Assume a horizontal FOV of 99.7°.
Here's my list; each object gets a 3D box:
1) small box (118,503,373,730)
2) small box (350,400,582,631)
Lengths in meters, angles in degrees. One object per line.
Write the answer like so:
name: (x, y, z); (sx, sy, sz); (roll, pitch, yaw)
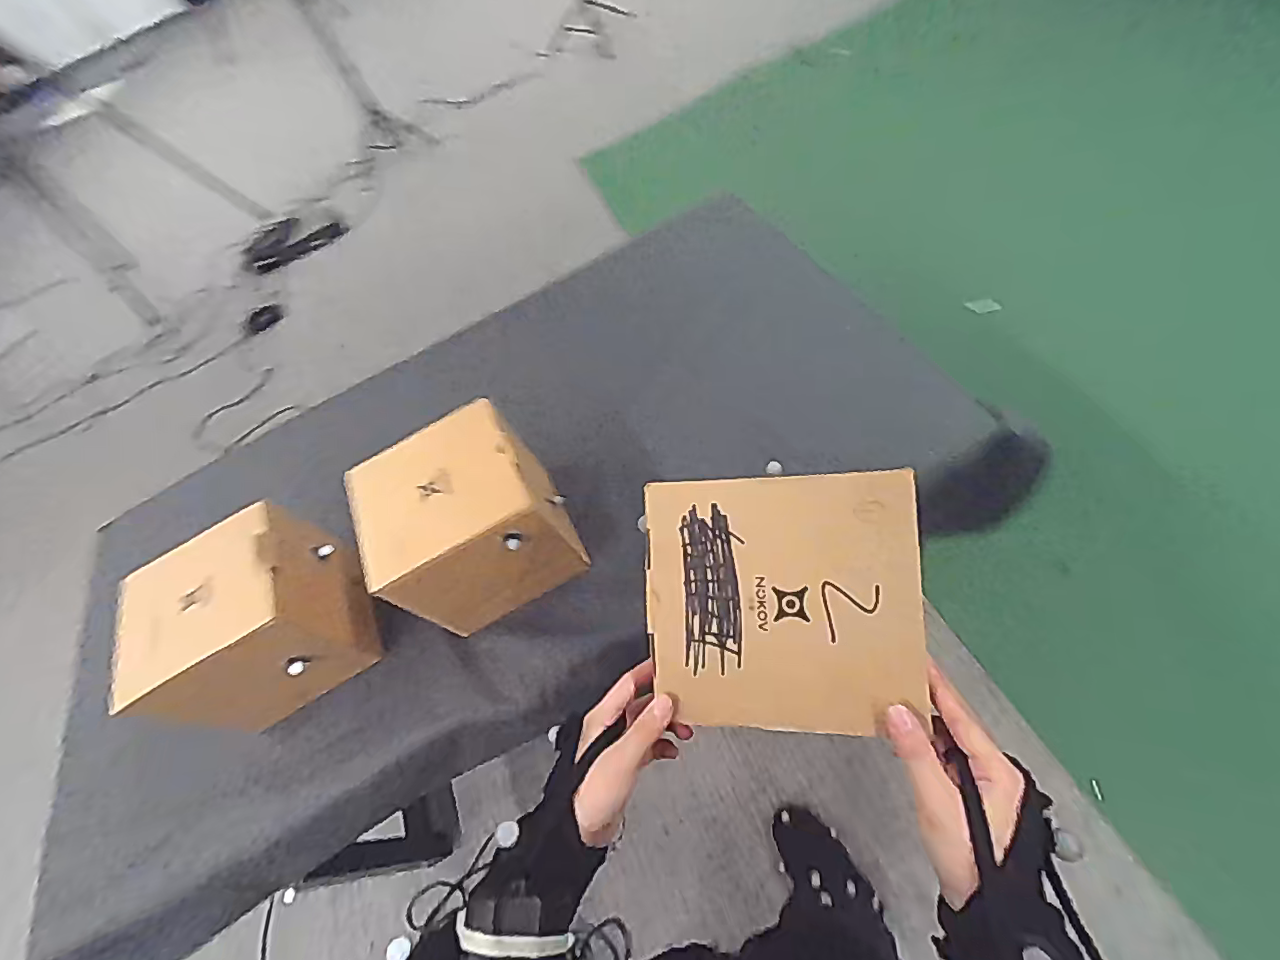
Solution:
small box: (-0.439, 0.164, 0.628); (0.179, 0.176, 0.168); (-33, 55, -3)
small box: (-0.194, 0.048, 0.626); (0.179, 0.176, 0.168); (-30, 56, -3)
